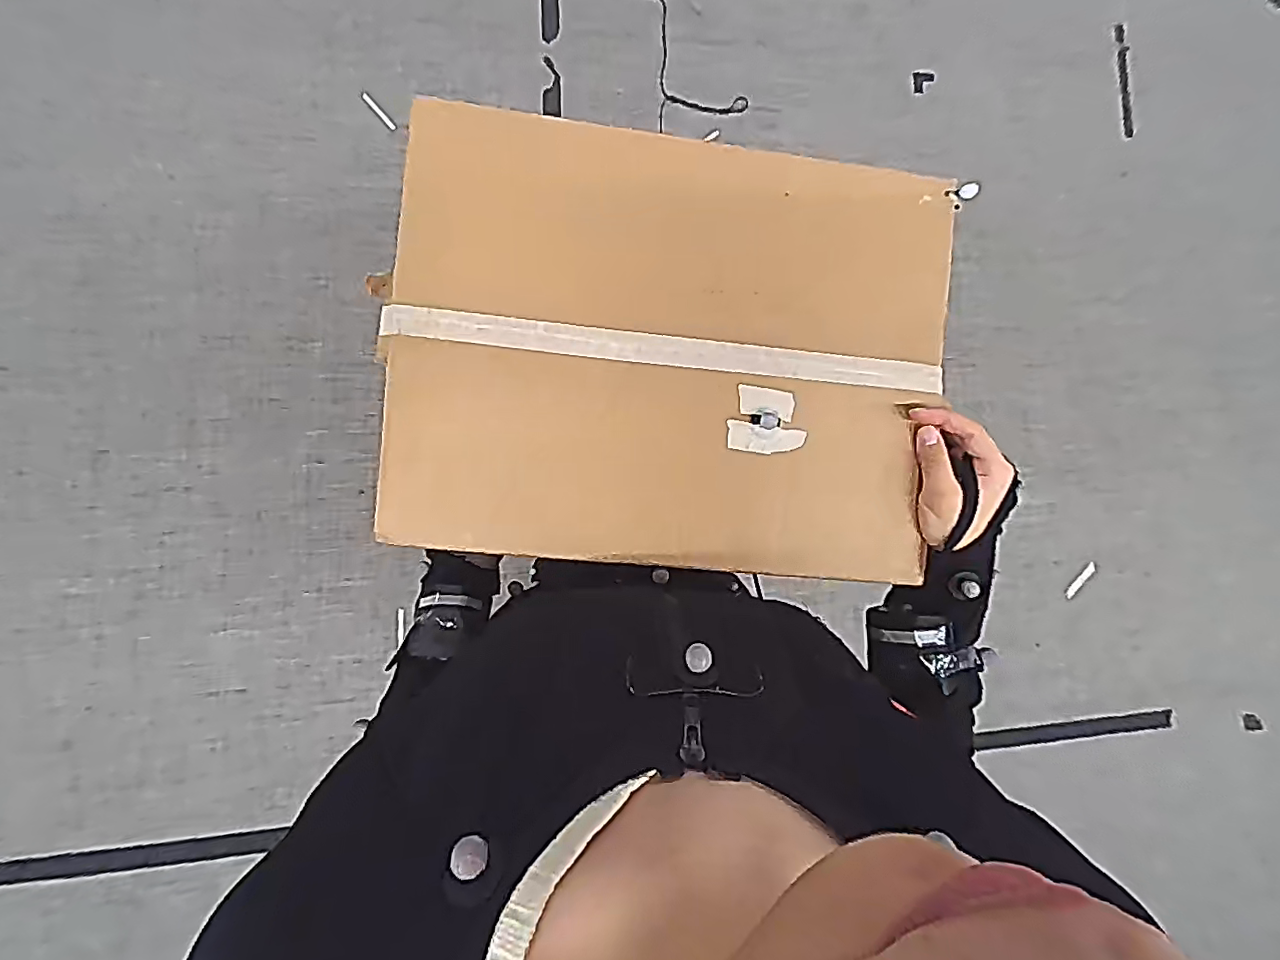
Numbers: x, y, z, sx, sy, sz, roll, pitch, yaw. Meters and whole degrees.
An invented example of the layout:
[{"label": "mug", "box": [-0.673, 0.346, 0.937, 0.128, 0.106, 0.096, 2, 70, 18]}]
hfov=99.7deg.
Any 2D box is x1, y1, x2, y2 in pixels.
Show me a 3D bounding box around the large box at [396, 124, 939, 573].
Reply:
[{"label": "large box", "box": [0.014, -0.090, 0.552, 0.408, 0.320, 0.320, 5, 90, -7]}]
